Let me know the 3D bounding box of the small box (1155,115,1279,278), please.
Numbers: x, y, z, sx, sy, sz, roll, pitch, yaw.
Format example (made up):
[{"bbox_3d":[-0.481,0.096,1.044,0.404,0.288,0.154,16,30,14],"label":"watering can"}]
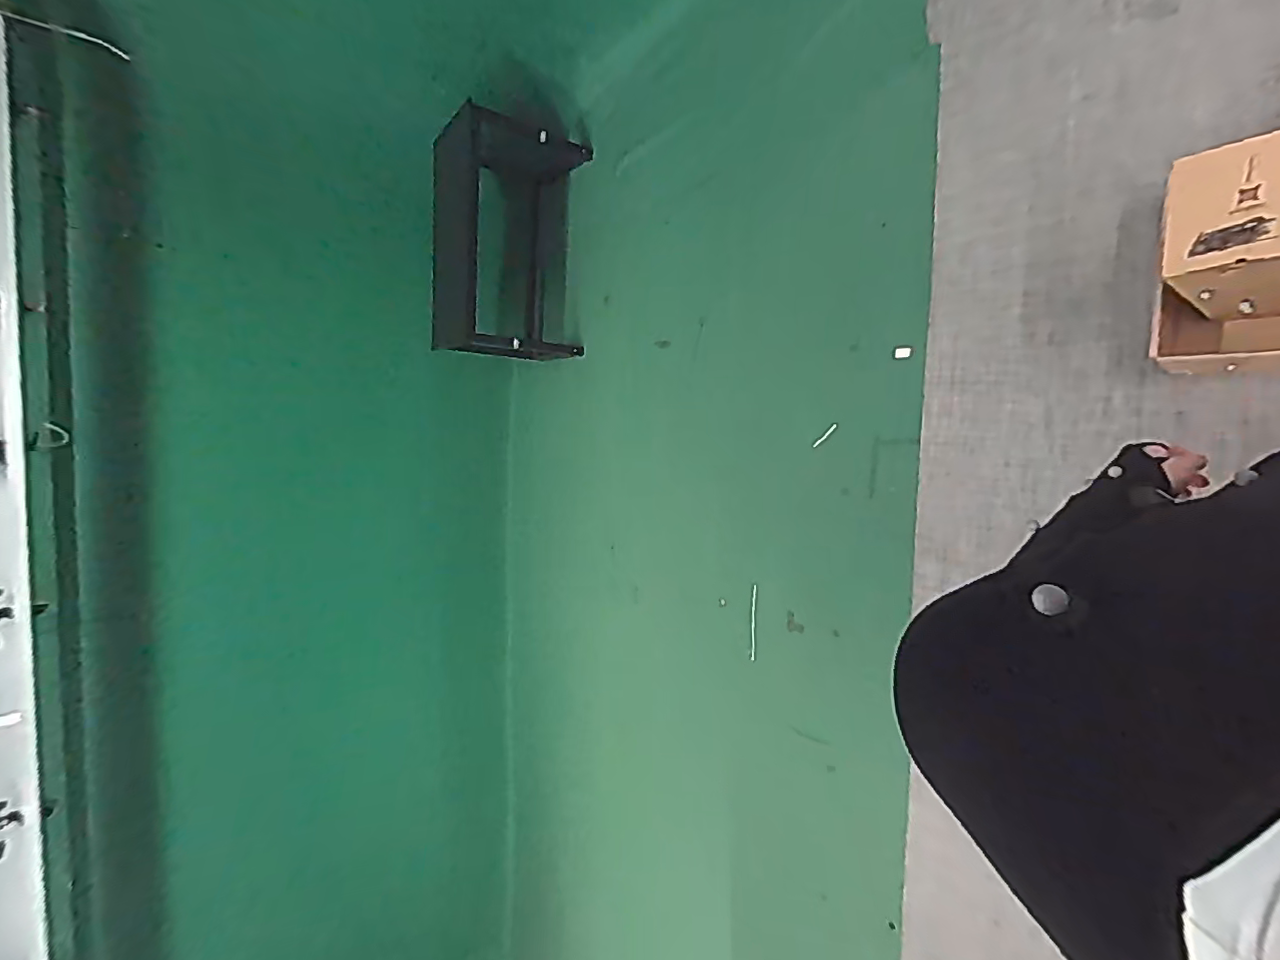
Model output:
[{"bbox_3d":[0.908,-0.413,0.809,0.168,0.176,0.179,7,97,52],"label":"small box"}]

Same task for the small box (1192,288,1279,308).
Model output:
[{"bbox_3d":[1.168,-0.432,1.006,0.168,0.176,0.179,11,100,52],"label":"small box"}]

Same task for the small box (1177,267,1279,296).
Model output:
[{"bbox_3d":[1.039,-0.423,0.908,0.168,0.176,0.179,10,101,51],"label":"small box"}]
